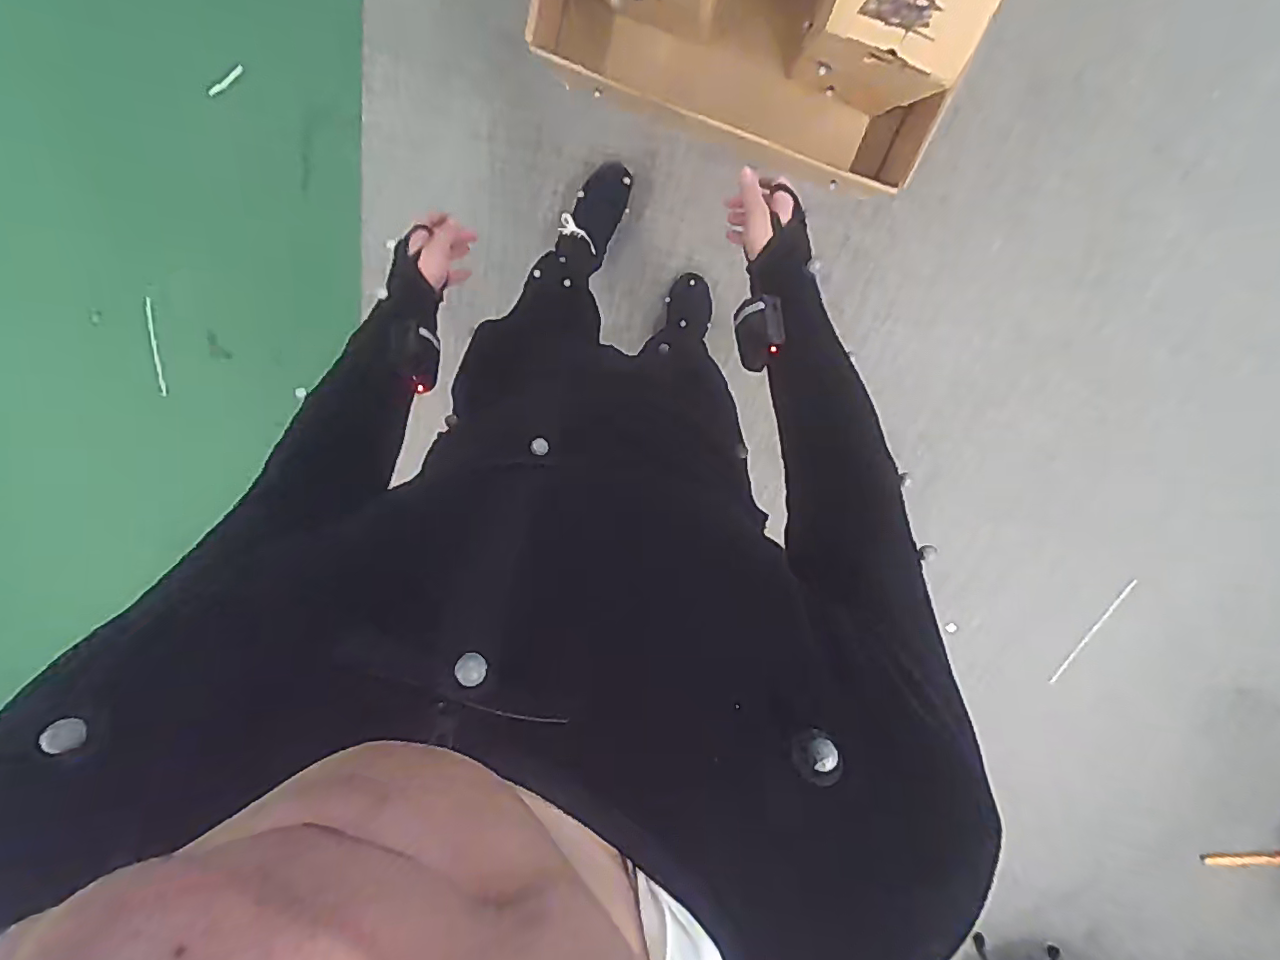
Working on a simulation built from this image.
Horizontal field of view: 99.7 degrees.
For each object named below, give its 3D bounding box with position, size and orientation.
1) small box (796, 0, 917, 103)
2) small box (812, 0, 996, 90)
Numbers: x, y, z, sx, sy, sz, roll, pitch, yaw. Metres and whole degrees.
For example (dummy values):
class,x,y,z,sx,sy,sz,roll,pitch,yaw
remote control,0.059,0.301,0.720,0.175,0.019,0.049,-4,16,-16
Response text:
class,x,y,z,sx,sy,sz,roll,pitch,yaw
small box,0.339,-0.673,0.772,0.168,0.176,0.179,18,119,-4
small box,0.318,-0.590,0.631,0.168,0.176,0.179,19,119,-5
